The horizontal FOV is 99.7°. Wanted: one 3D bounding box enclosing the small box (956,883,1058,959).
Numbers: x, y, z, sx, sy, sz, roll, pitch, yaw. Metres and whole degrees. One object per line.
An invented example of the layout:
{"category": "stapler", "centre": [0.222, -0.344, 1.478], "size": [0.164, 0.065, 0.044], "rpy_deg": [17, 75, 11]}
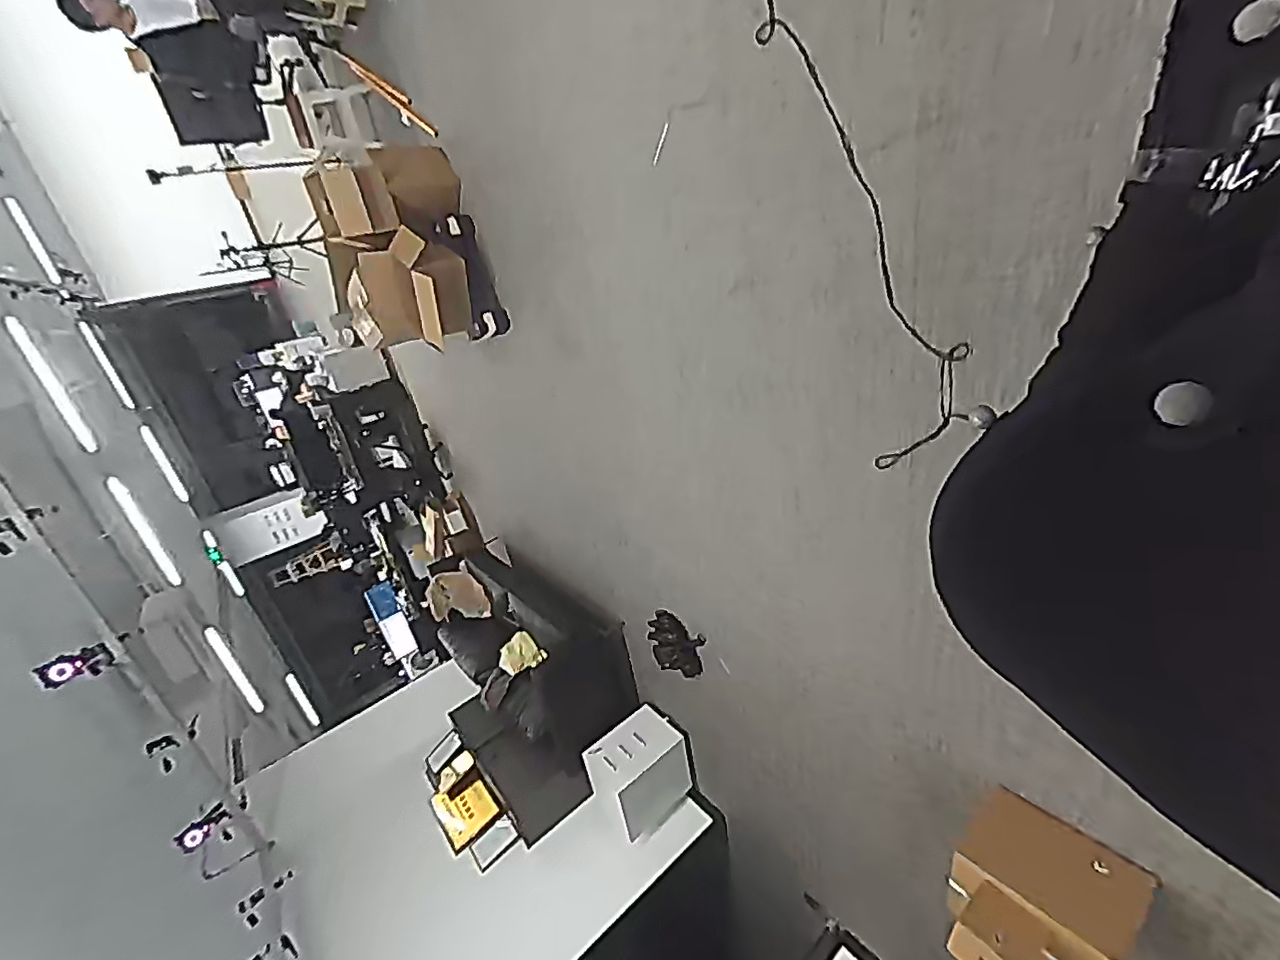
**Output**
{"category": "small box", "centre": [1.025, 1.293, 1.511], "size": [0.179, 0.176, 0.168], "rpy_deg": [27, 132, 46]}
